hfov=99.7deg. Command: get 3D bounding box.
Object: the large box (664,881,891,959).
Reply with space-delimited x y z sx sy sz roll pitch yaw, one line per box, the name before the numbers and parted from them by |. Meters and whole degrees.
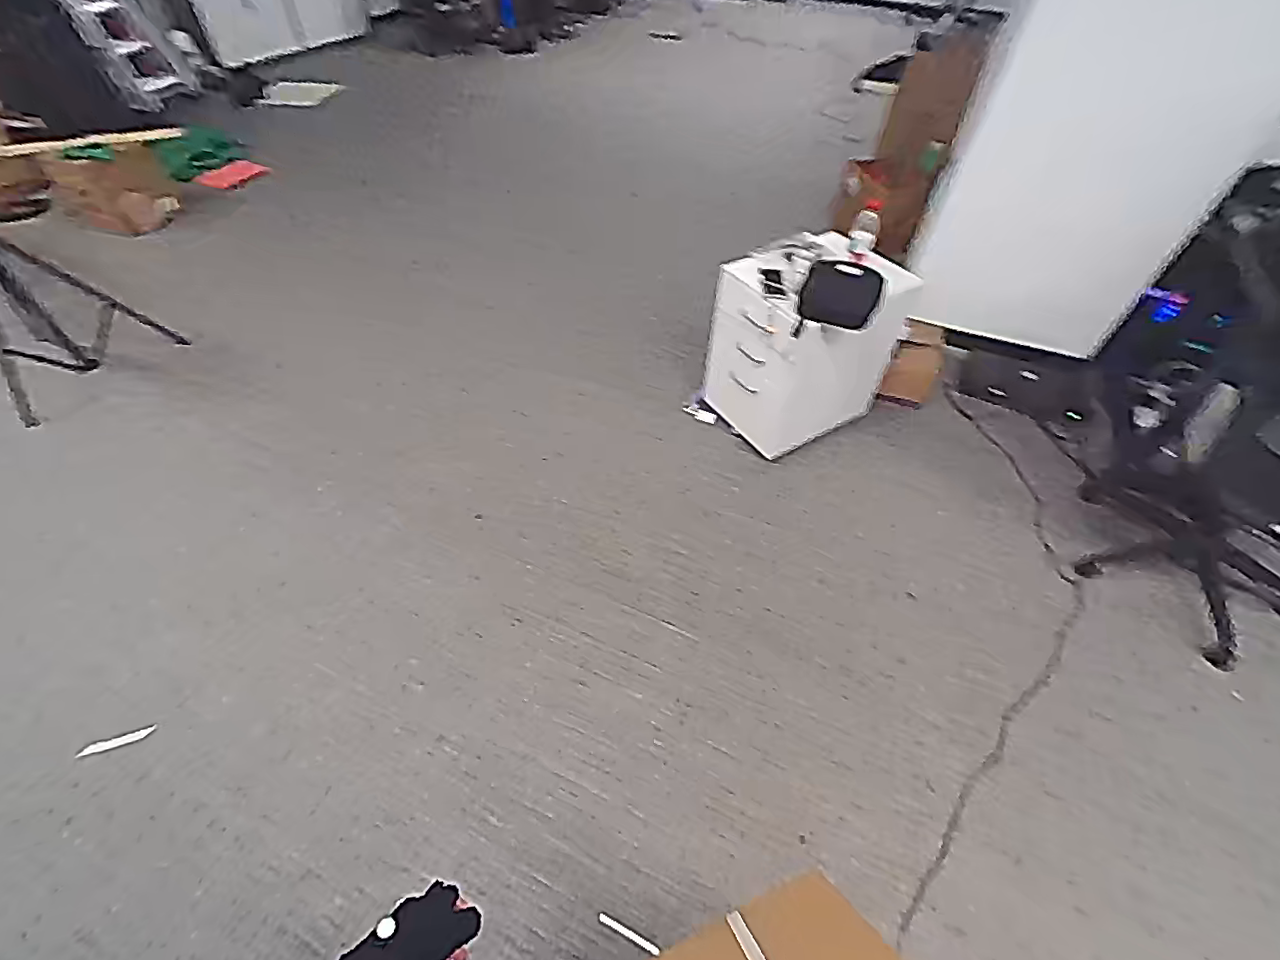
large box | 0.231 0.802 0.642 0.320 0.408 0.320 -19 84 -13
